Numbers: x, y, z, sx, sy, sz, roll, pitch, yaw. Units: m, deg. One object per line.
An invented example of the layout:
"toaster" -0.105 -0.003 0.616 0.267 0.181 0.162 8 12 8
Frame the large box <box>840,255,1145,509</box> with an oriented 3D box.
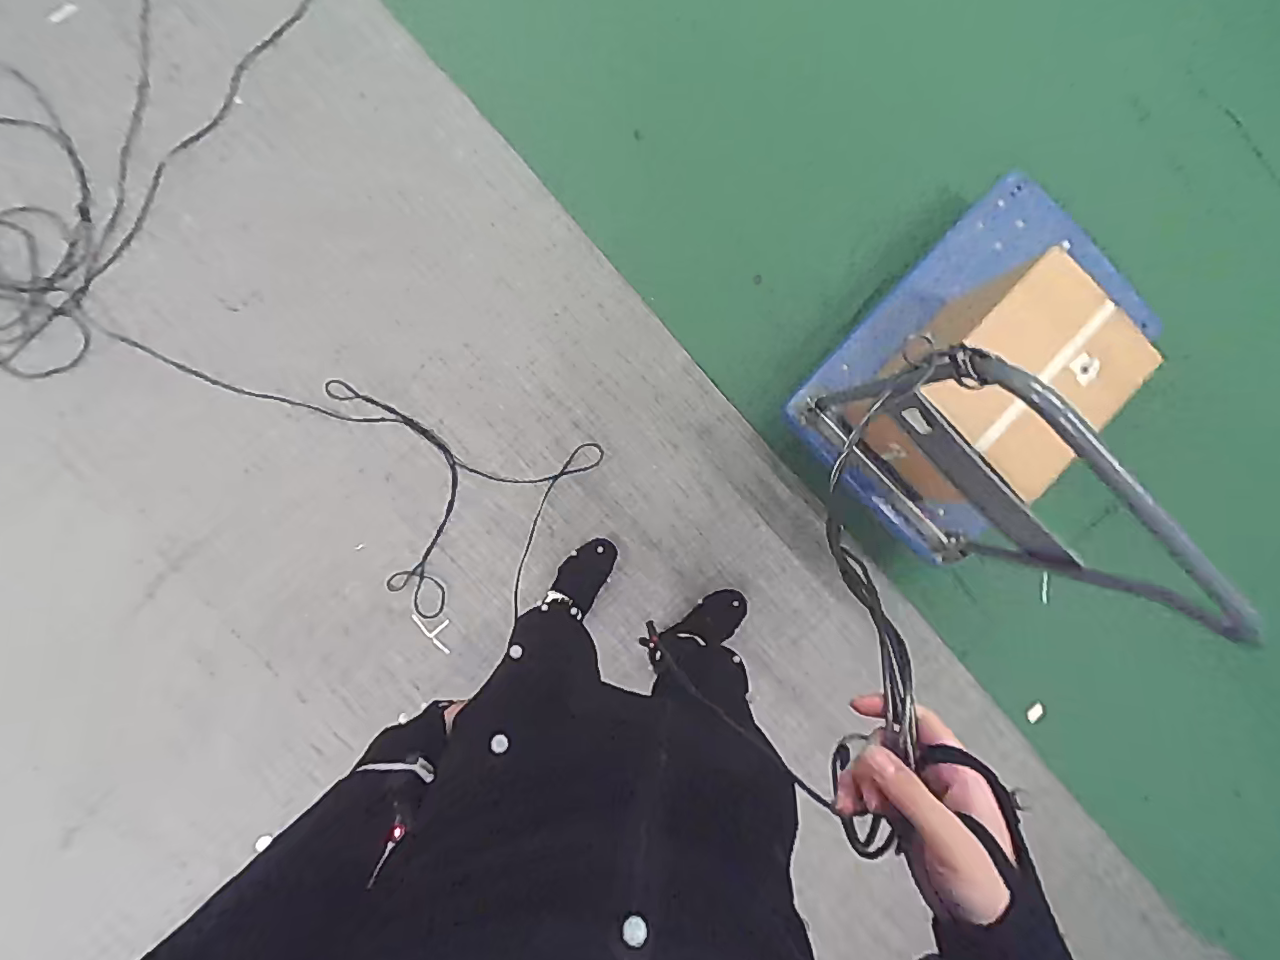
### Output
"large box" 0.732 -0.184 1.180 0.320 0.320 0.408 45 85 -4
